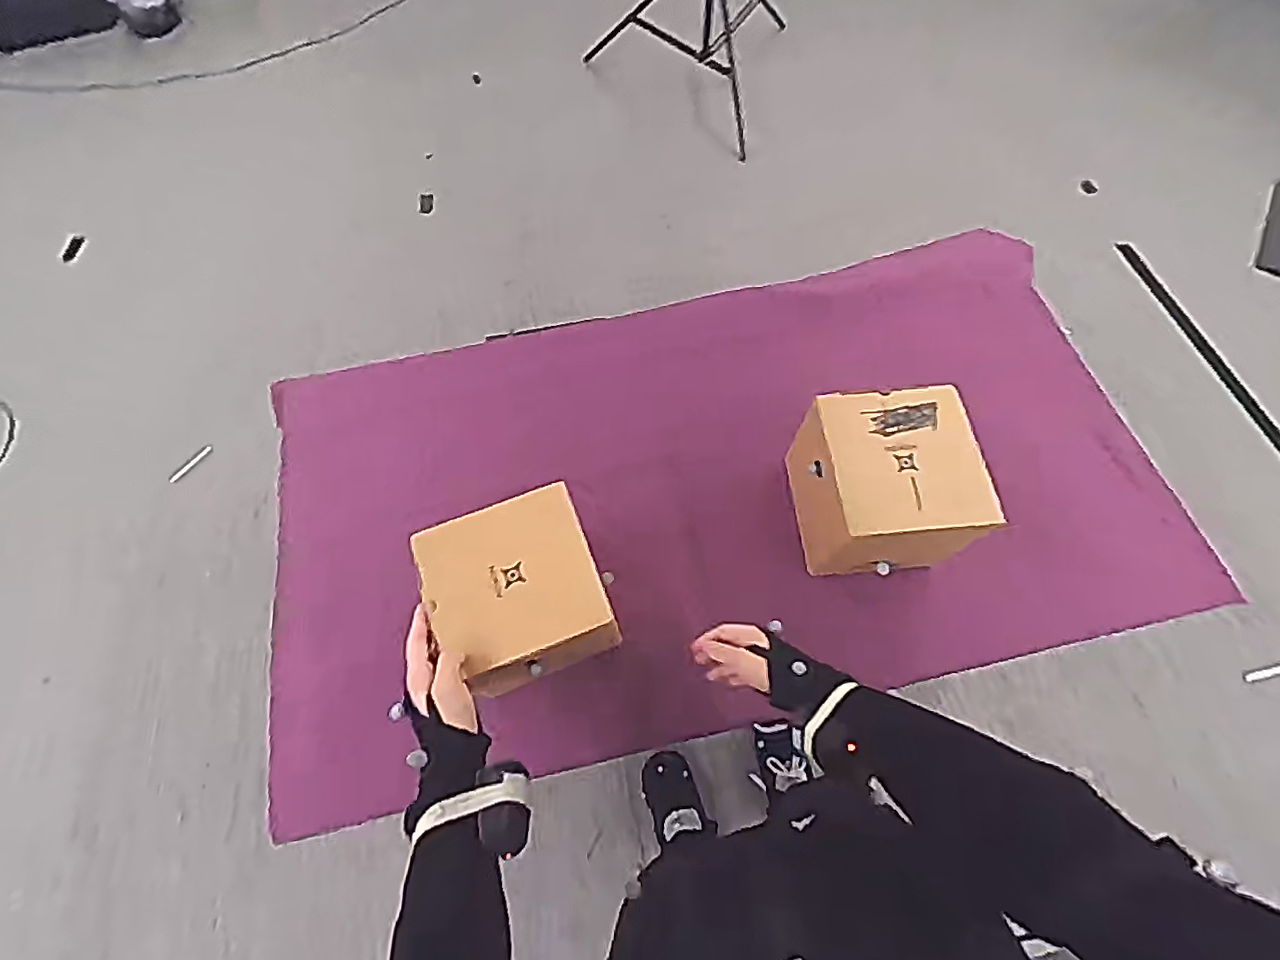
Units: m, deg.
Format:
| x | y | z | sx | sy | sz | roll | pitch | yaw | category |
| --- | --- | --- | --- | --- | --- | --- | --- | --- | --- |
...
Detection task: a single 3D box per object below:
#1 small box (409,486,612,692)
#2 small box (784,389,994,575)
| x | y | z | sx | sy | sz | roll | pitch | yaw | category |
| --- | --- | --- | --- | --- | --- | --- | --- | --- | --- |
| -0.137 | 0.134 | 0.632 | 0.179 | 0.176 | 0.168 | -21 | 68 | -7 | small box |
| 0.288 | 0.009 | 0.674 | 0.168 | 0.176 | 0.179 | -5 | 66 | 0 | small box |
